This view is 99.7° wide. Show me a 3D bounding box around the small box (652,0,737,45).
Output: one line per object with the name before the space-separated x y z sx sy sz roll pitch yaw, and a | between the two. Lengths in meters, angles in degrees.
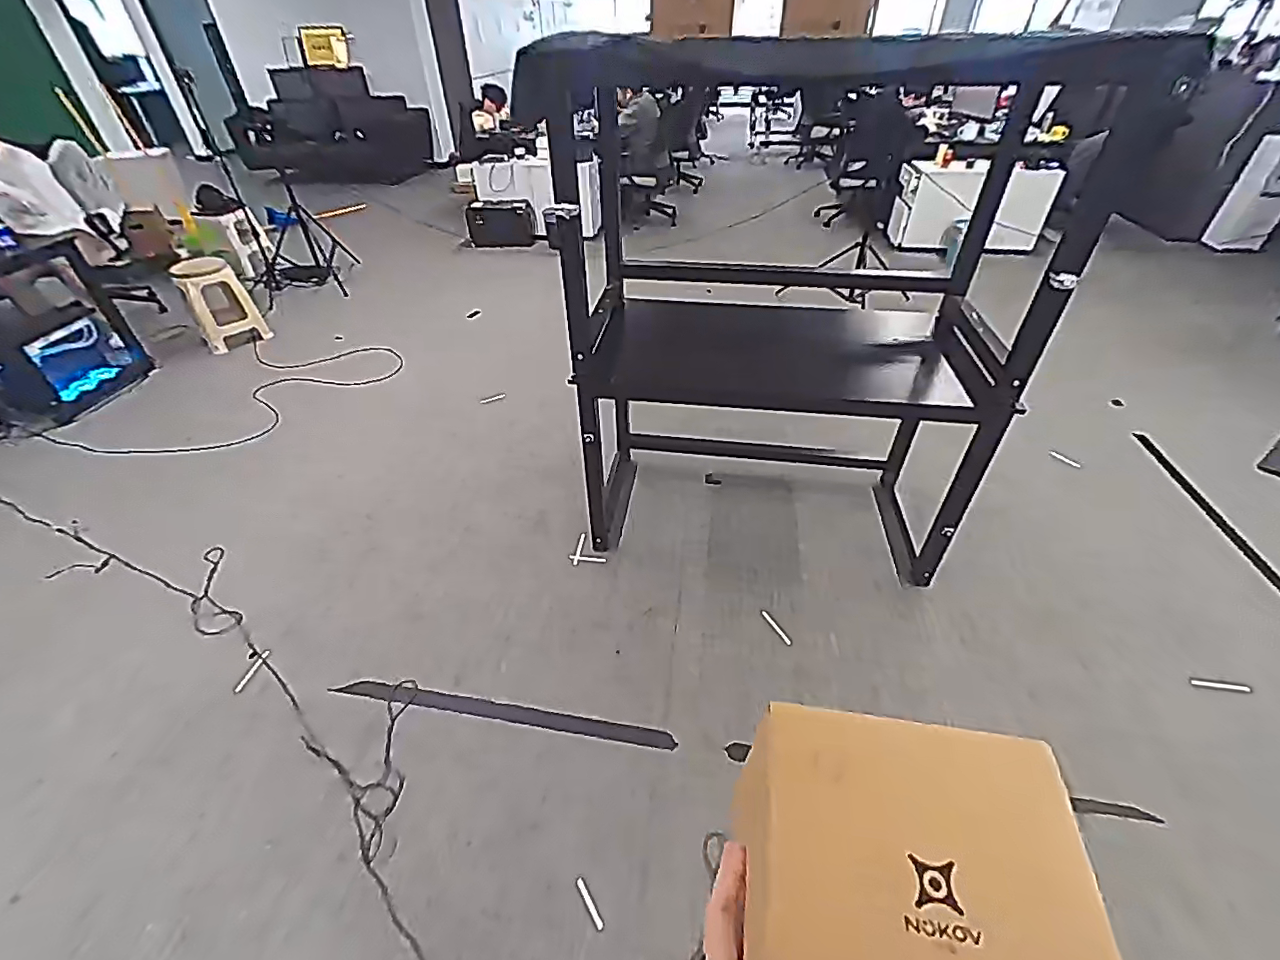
small box | 0.111 -0.983 1.081 0.168 0.176 0.179 3 39 4

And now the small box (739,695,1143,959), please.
small box | 0.152 0.259 0.323 0.168 0.176 0.179 6 46 6
